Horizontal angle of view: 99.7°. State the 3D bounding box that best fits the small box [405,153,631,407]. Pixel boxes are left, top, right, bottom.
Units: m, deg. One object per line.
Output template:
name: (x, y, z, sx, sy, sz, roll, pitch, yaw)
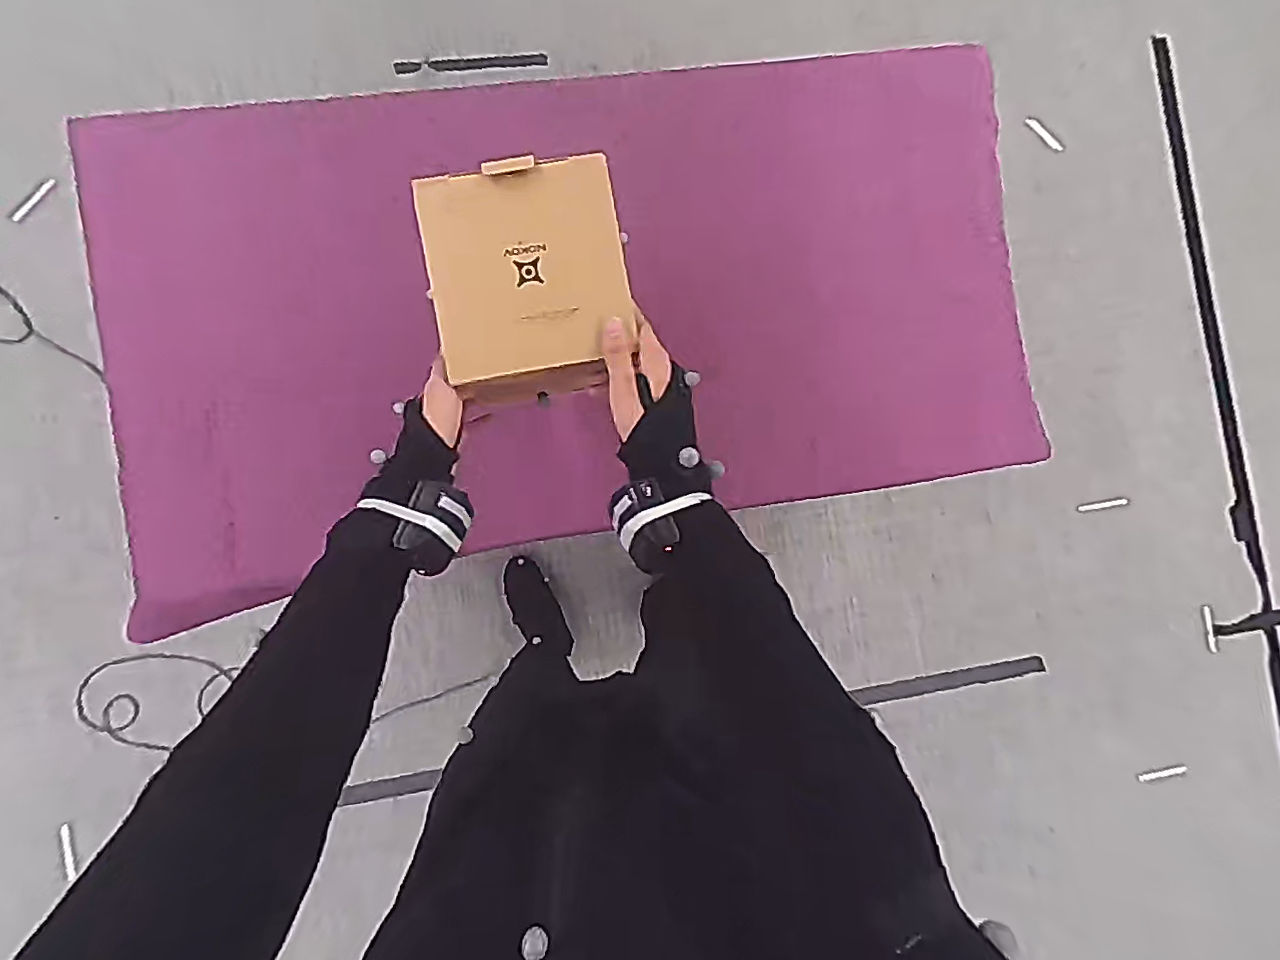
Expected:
small box: (-0.107, -0.178, 0.528, 0.168, 0.176, 0.179, -9, 91, -4)
